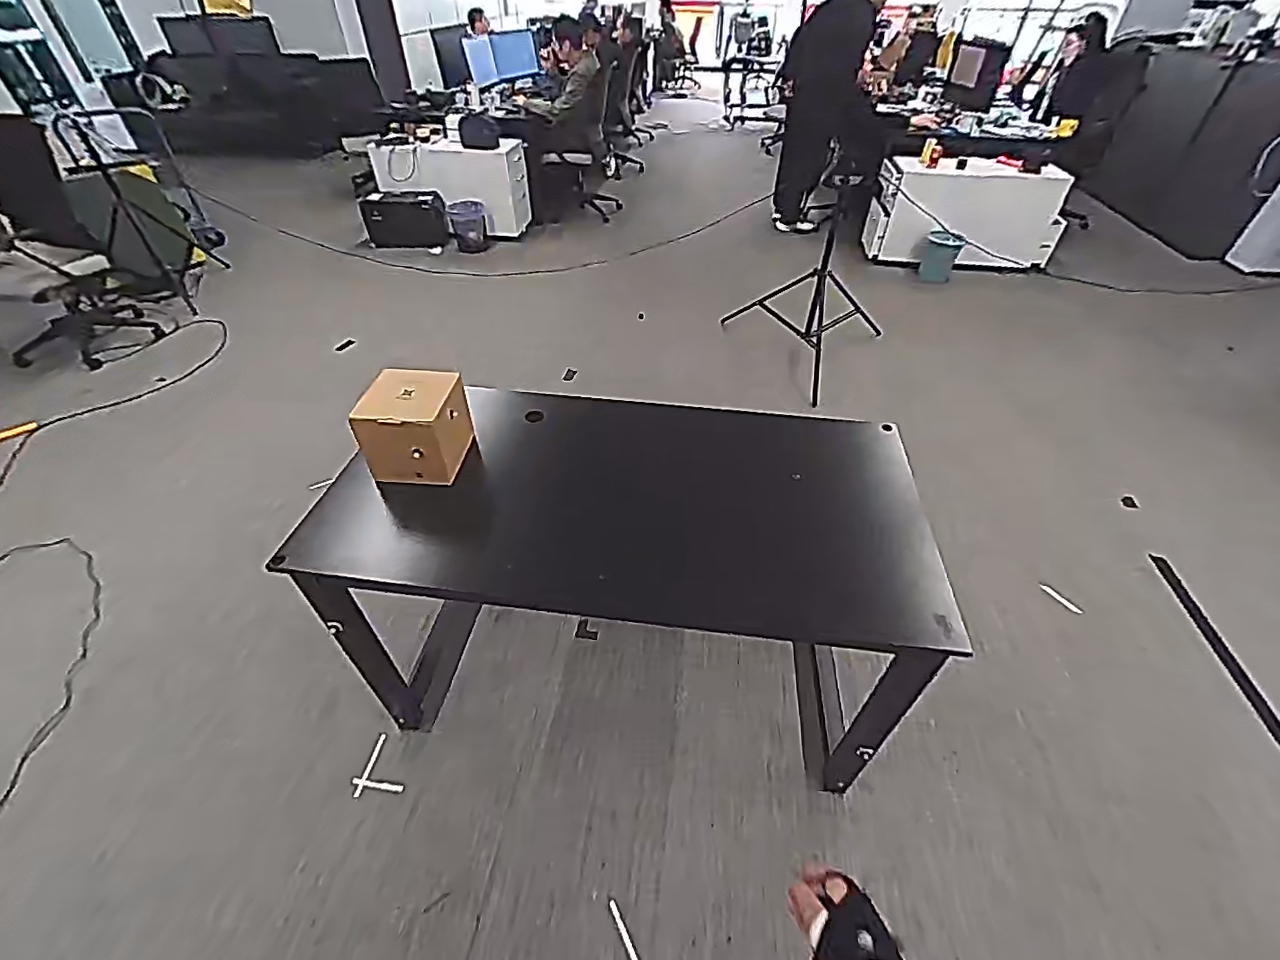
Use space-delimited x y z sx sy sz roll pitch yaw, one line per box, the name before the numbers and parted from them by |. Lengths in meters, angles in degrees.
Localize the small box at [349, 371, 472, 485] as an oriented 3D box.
small box | -0.461 -0.106 1.121 0.168 0.176 0.179 4 42 1
